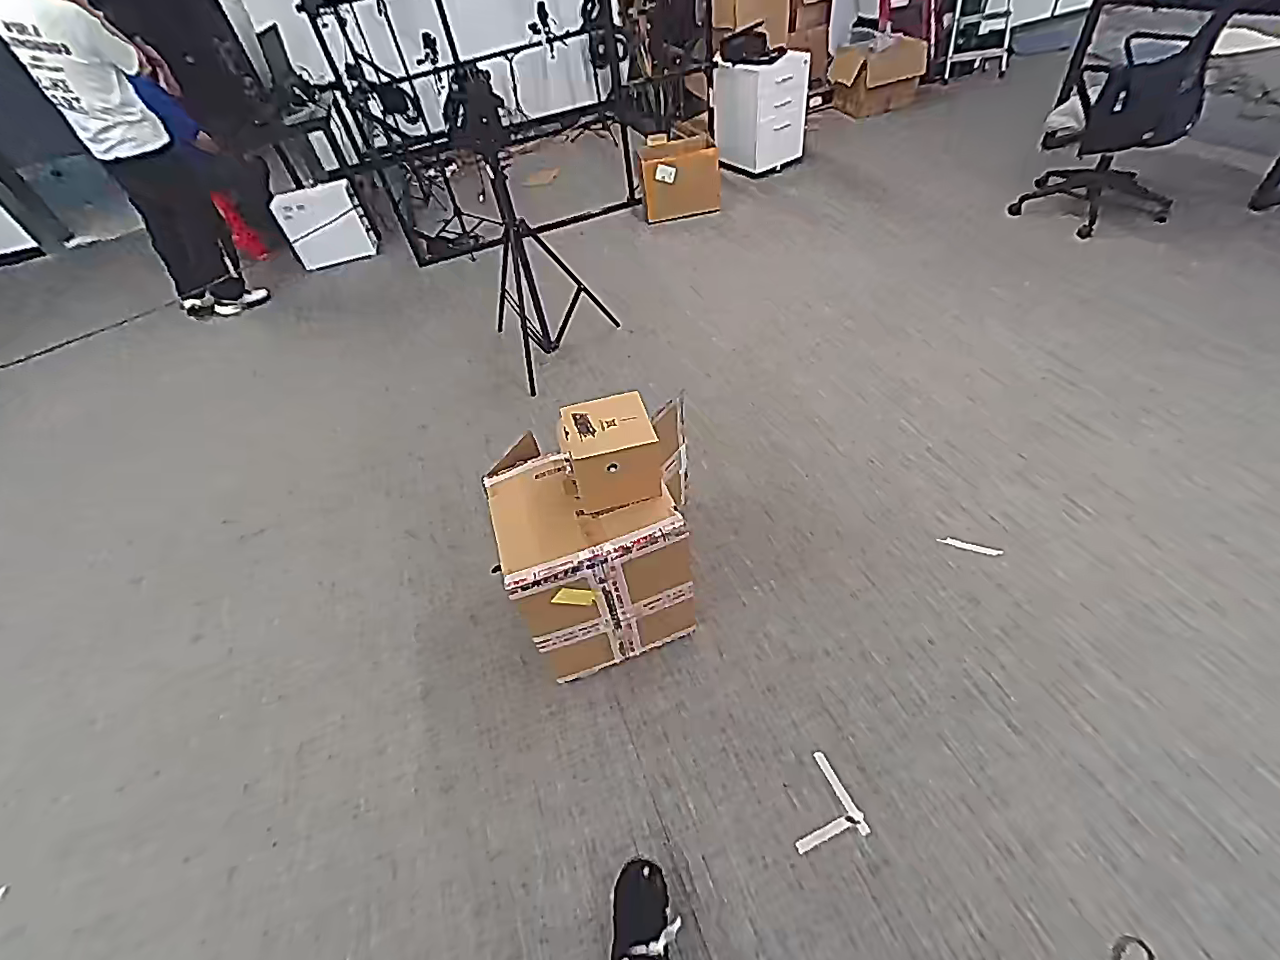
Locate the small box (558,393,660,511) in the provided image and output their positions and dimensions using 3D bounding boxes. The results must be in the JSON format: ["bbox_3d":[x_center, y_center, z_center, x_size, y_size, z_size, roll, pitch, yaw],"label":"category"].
[{"bbox_3d":[-0.064,-0.056,1.160,0.179,0.176,0.168,-14,48,-7],"label":"small box"}]
